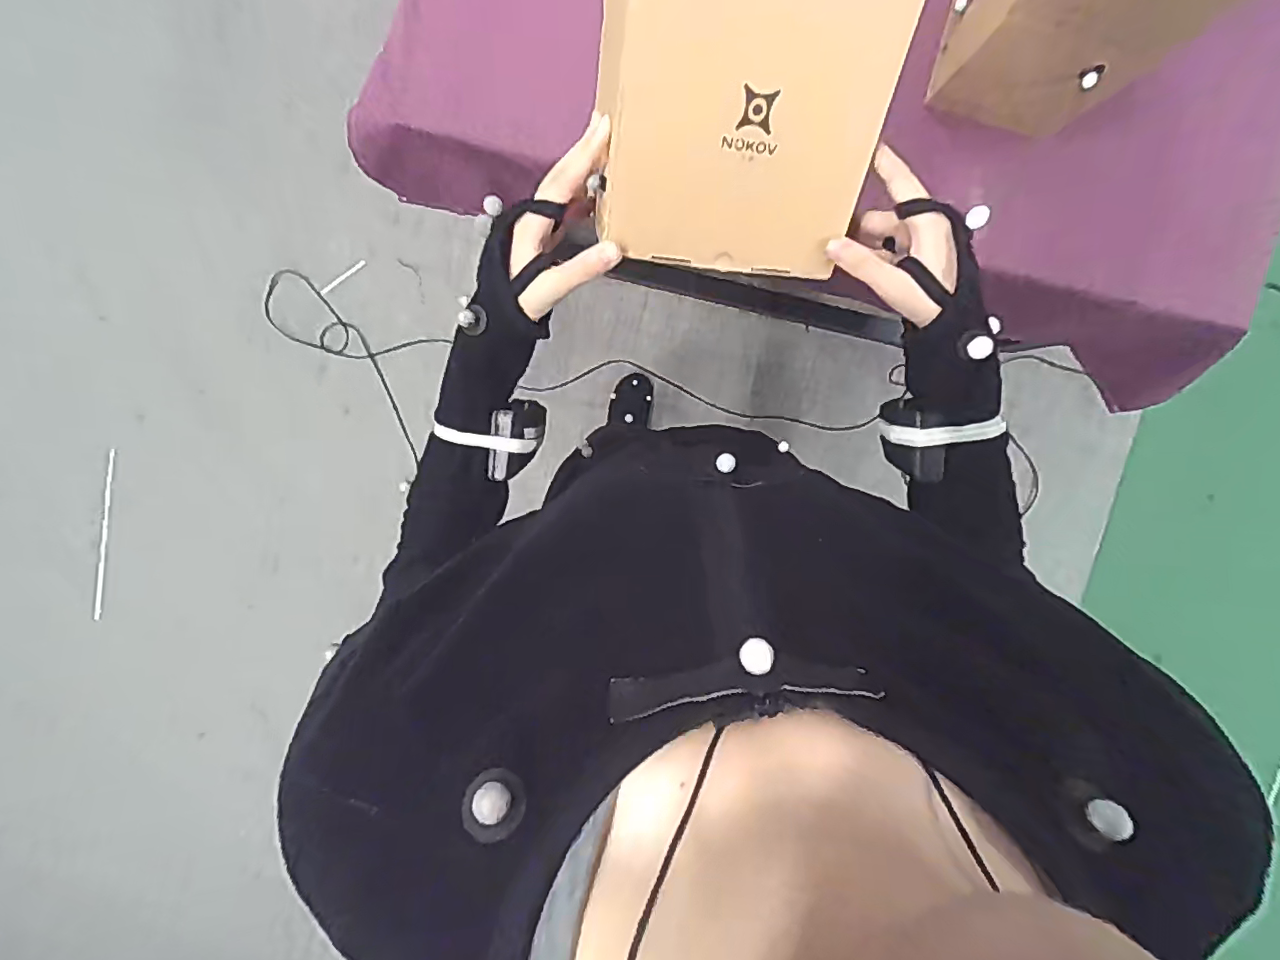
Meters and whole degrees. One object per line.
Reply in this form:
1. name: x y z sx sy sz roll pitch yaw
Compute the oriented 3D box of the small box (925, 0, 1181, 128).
1. small box: 0.476 -0.548 0.626 0.179 0.176 0.168 13 96 -3
